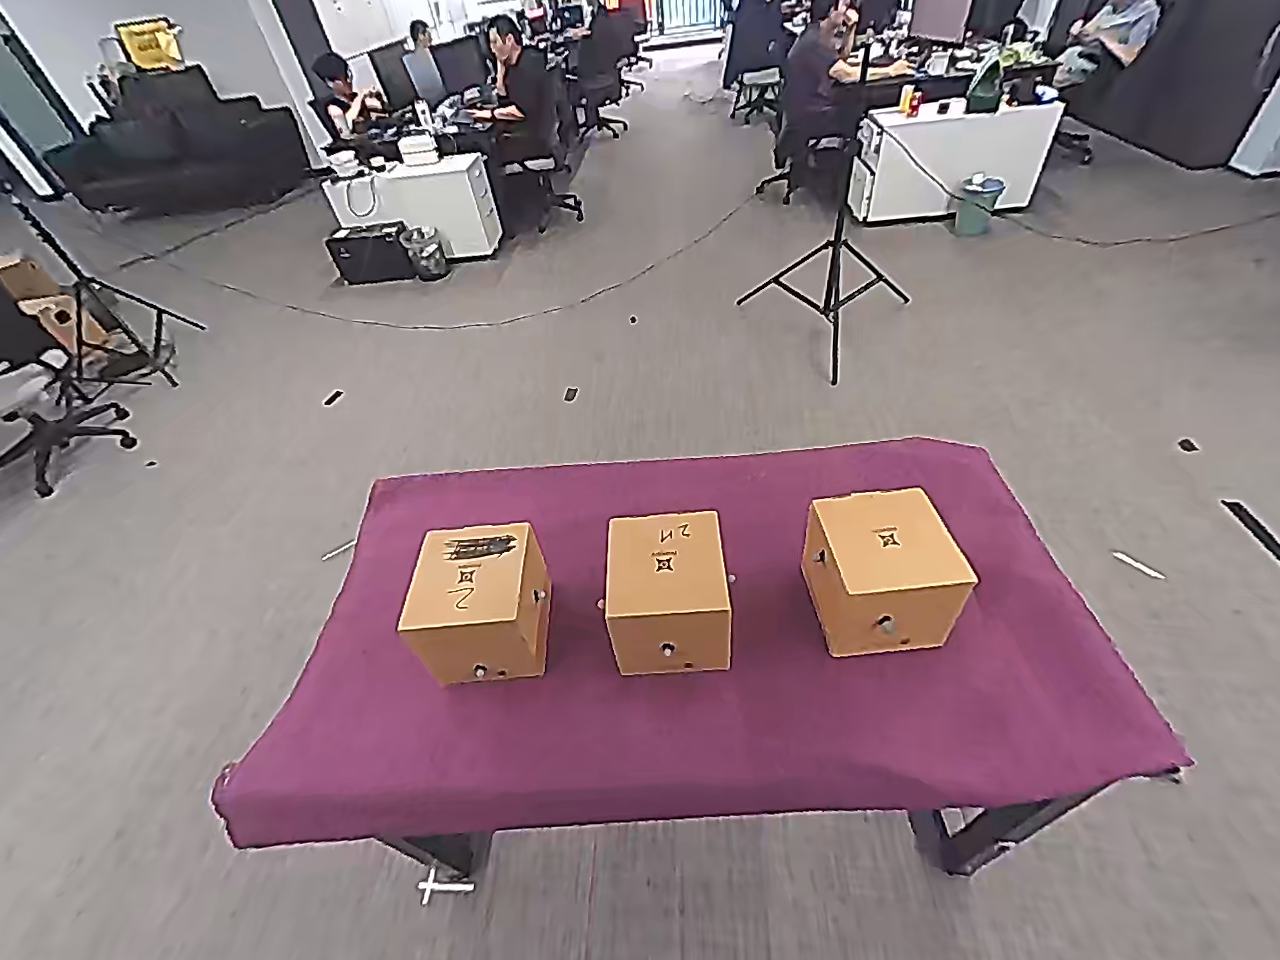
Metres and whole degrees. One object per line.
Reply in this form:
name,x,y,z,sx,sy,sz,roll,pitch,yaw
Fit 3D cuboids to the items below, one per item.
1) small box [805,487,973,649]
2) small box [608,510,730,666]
small box,0.355,0.137,0.808,0.168,0.176,0.179,-7,42,3
small box,0.047,0.169,0.821,0.168,0.176,0.179,-4,44,4
